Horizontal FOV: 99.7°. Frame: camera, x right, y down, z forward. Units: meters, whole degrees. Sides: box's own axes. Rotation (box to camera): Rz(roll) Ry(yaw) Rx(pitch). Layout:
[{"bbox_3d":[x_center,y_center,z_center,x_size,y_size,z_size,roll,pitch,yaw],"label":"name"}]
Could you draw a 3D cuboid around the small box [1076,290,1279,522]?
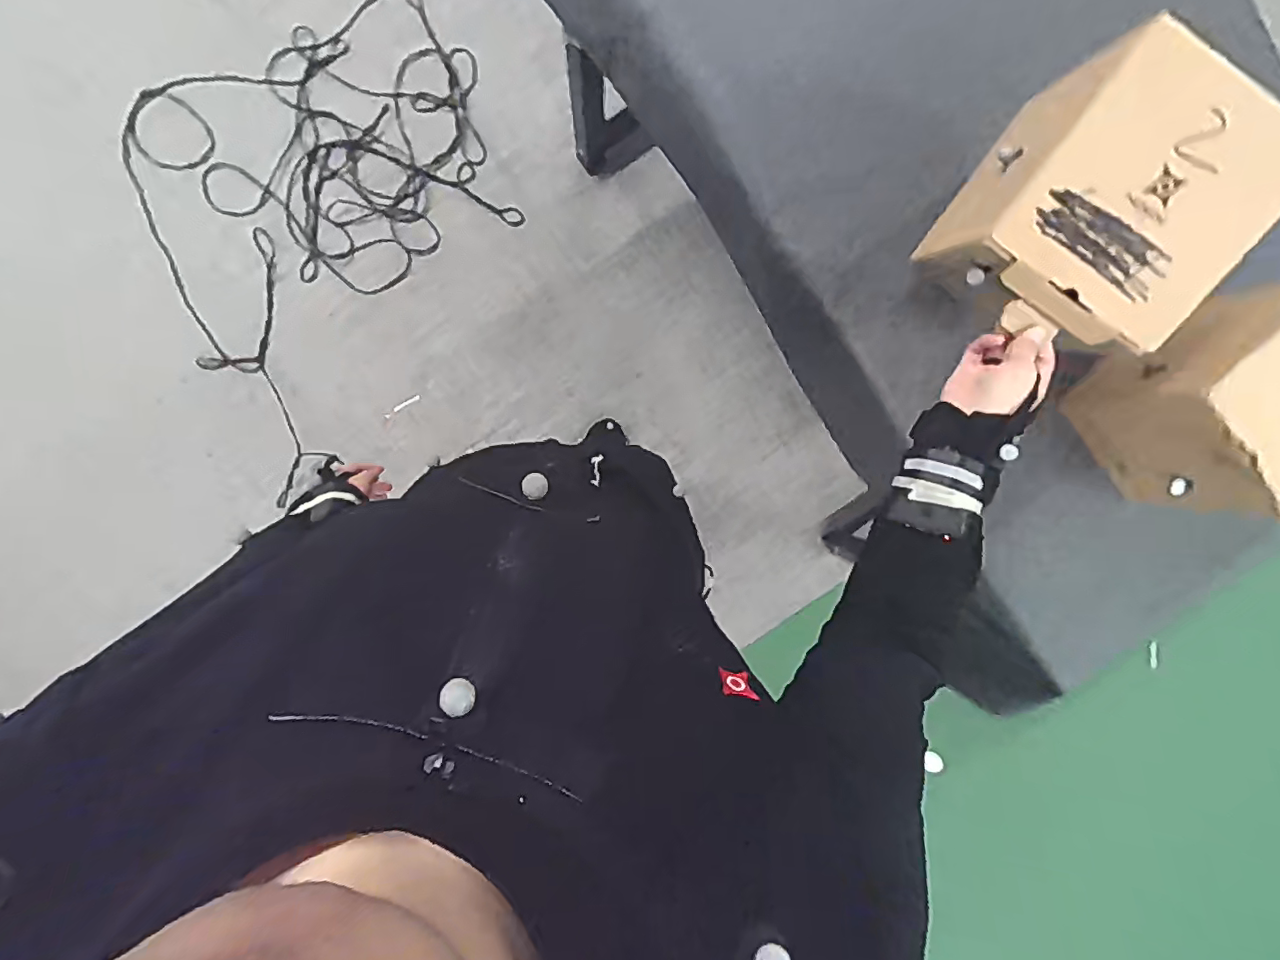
[{"bbox_3d":[0.624,-0.076,0.580,0.179,0.176,0.168,-42,98,-1],"label":"small box"}]
